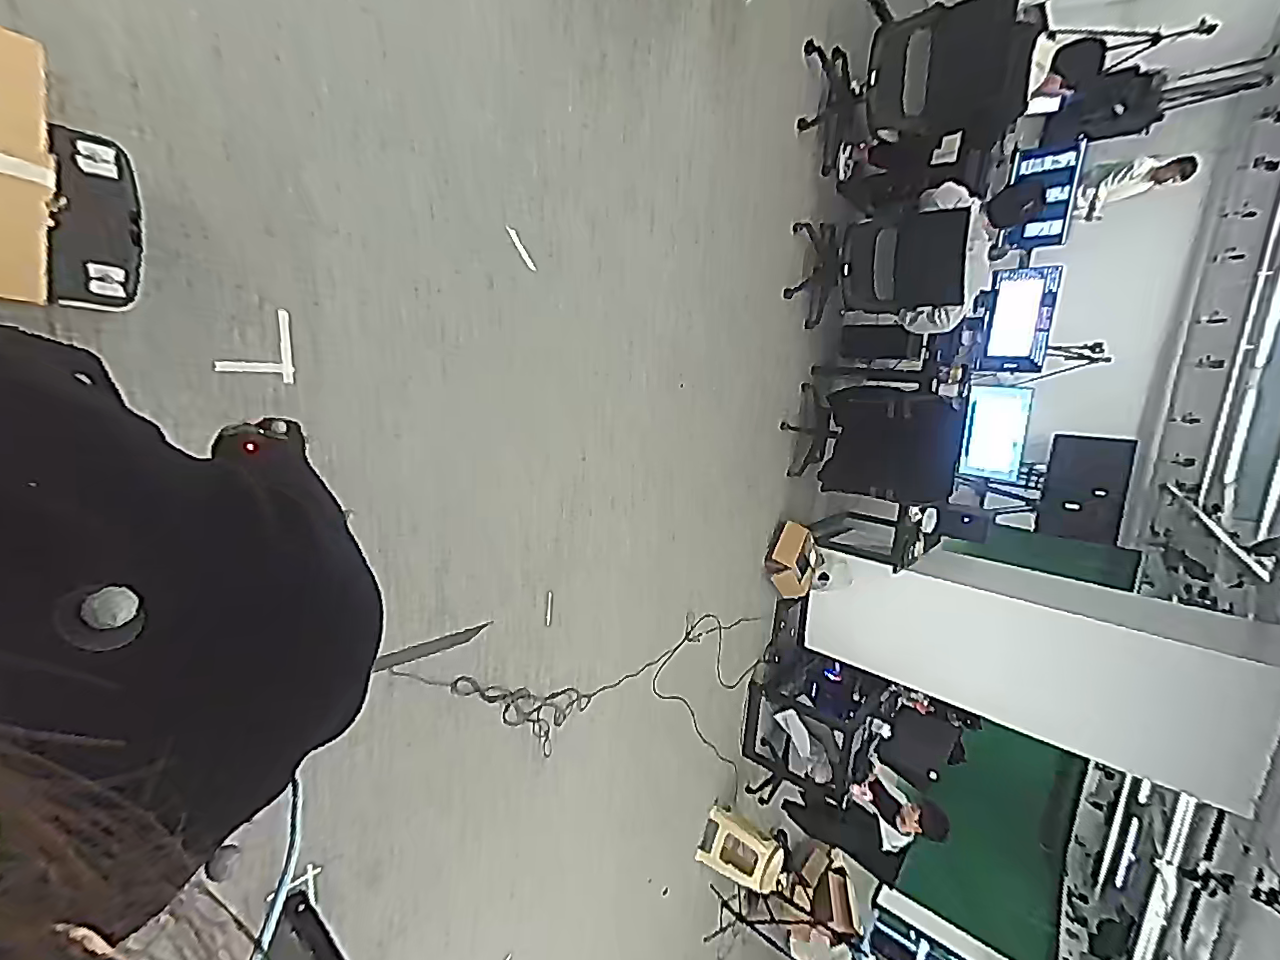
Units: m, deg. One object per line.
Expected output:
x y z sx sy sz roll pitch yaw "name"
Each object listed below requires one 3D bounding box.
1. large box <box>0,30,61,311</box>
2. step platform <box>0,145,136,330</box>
-0.967 -0.390 0.620 0.408 0.320 0.320 0 99 -49 "large box"
-1.166 -0.425 0.751 0.684 0.204 0.286 3 97 -50 "step platform"
